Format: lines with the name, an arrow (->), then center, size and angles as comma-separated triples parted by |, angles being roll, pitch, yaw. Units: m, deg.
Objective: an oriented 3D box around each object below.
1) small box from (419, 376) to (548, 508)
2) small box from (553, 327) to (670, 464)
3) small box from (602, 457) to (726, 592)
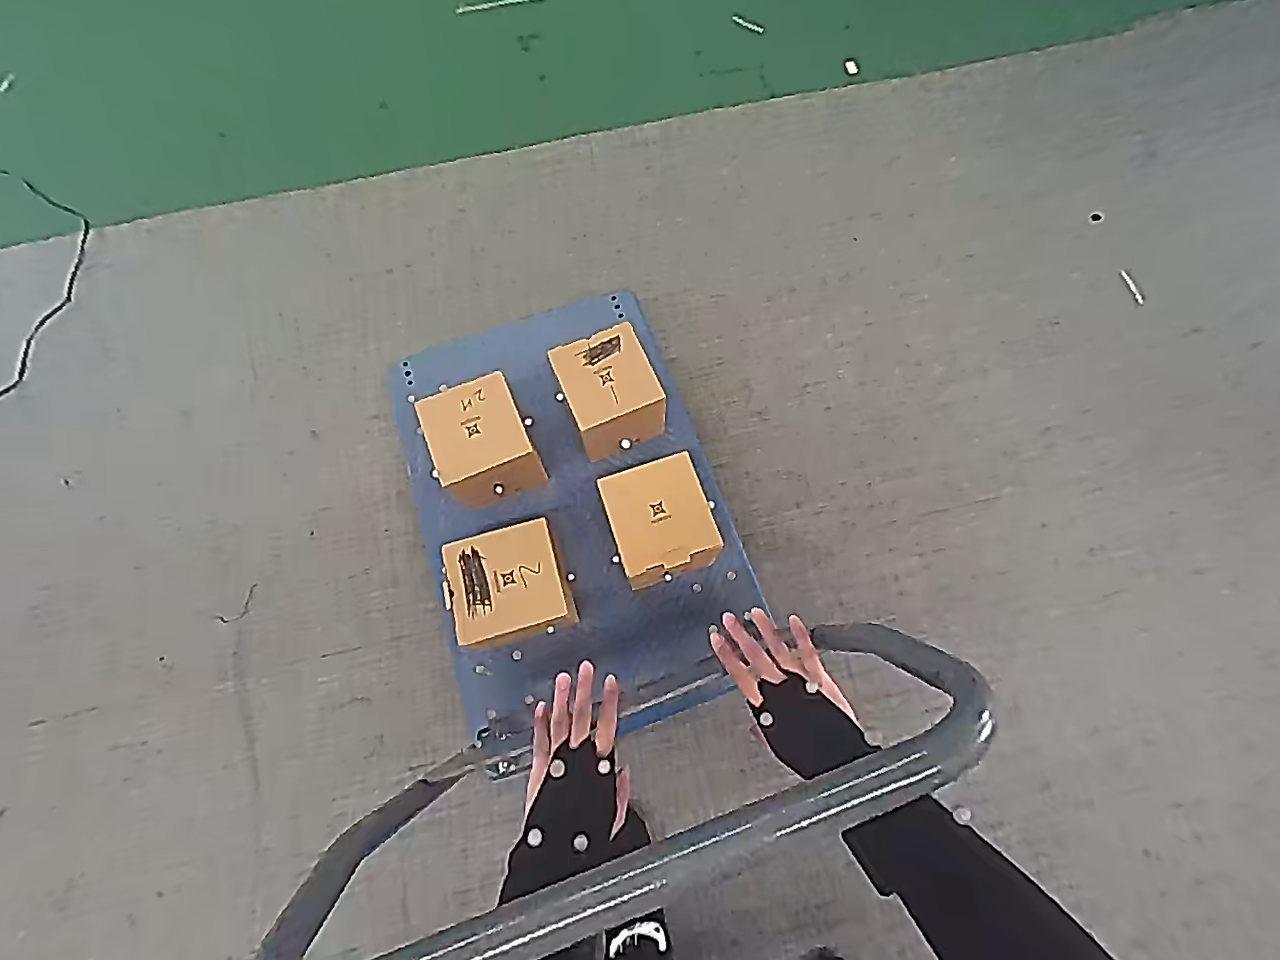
small box -> -0.284, -0.060, 1.018 | 0.168, 0.176, 0.179 | -22, 73, -7
small box -> -0.053, -0.156, 1.045 | 0.168, 0.176, 0.179 | -22, 73, -5
small box -> 0.037, 0.085, 0.964 | 0.168, 0.176, 0.179 | -18, 72, -5
